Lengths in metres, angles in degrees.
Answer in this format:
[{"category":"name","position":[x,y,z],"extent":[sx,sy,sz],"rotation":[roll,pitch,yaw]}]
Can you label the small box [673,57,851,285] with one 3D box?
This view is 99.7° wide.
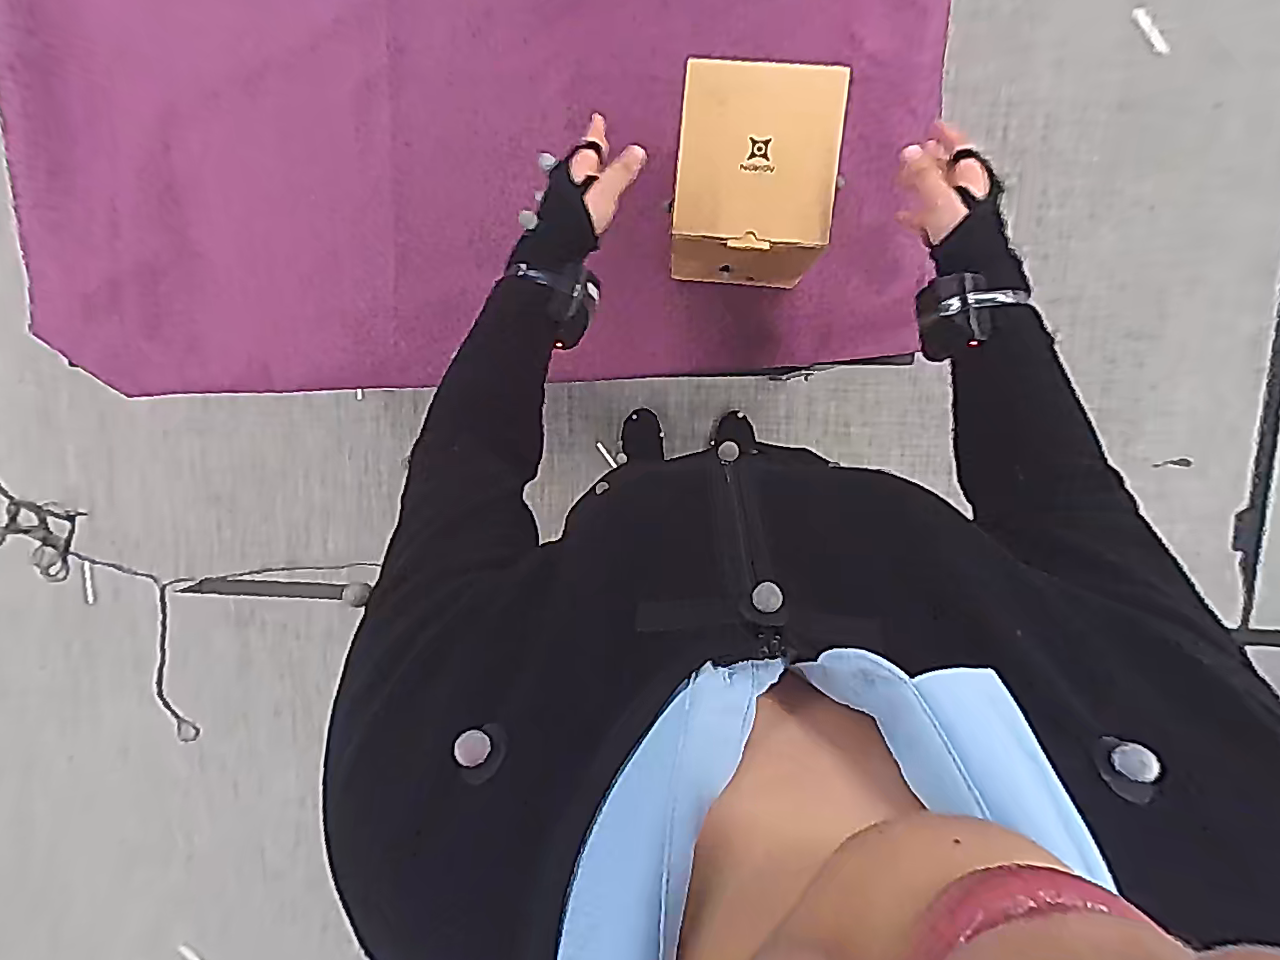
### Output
[{"category":"small box","position":[0.127,-0.343,0.631],"extent":[0.168,0.176,0.179],"rotation":[5,97,3]}]
